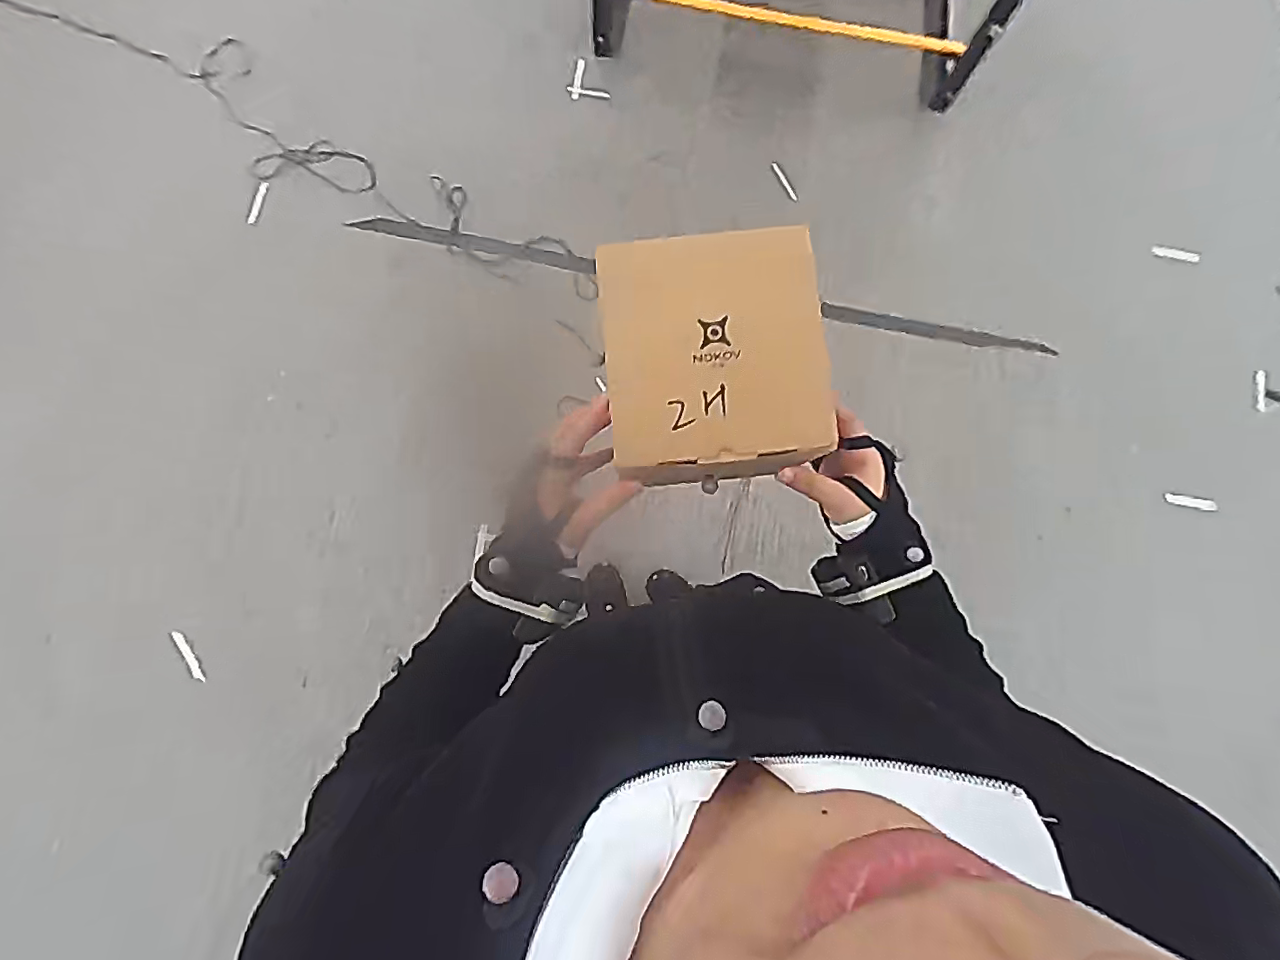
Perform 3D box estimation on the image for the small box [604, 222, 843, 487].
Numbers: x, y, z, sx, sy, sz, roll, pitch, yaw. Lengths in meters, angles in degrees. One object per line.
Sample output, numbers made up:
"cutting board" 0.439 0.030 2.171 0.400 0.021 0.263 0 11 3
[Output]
"small box" 0.059 -0.094 0.476 0.168 0.176 0.179 -5 84 0
